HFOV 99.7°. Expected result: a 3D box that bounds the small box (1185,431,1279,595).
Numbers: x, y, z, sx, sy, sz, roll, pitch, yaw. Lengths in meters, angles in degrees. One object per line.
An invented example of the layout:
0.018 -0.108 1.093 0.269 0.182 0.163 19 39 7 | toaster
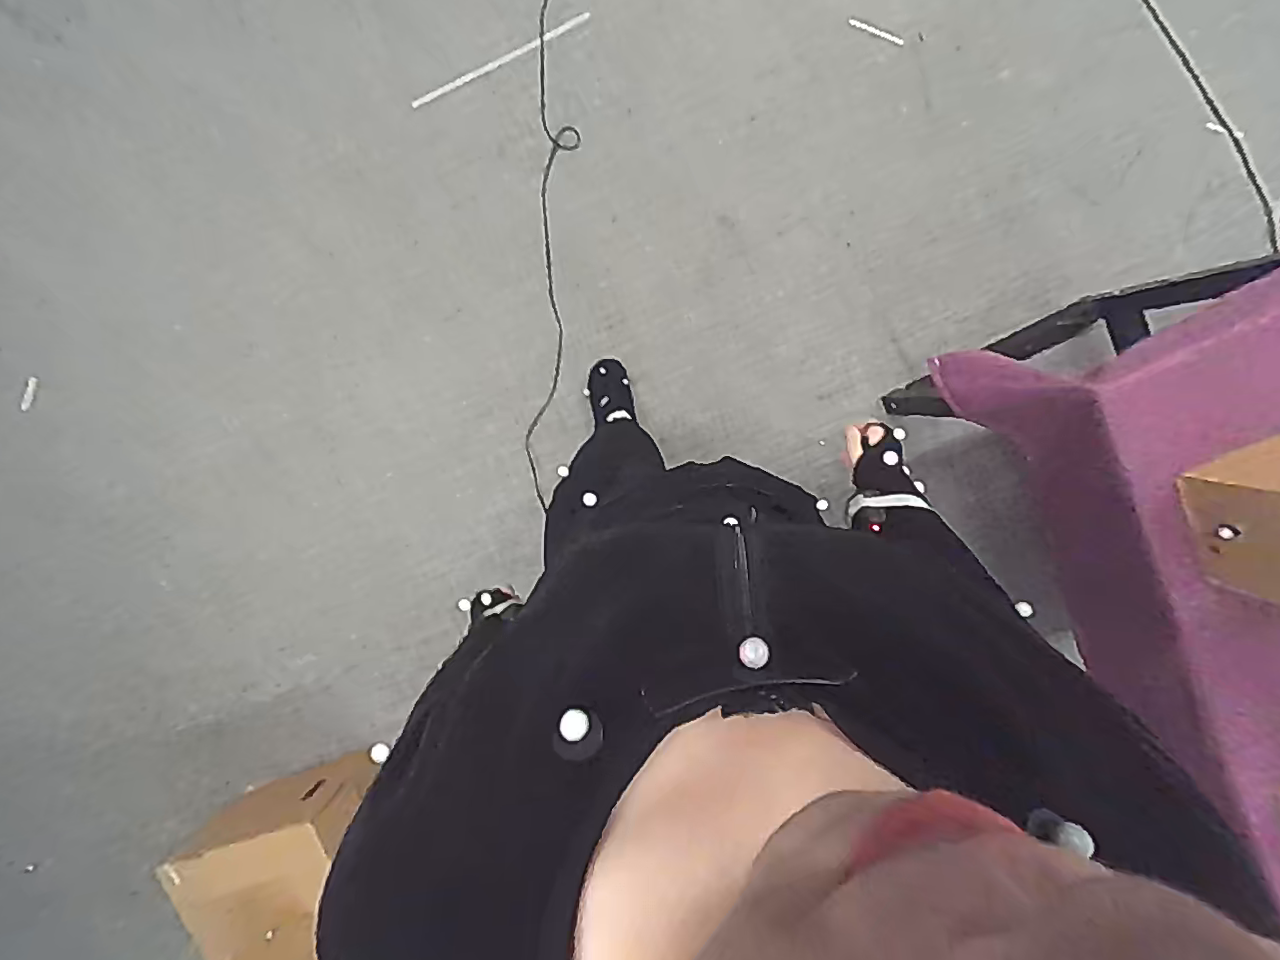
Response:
0.840 0.037 0.654 0.179 0.176 0.168 -25 98 5 | small box

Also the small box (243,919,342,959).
-0.865 1.216 1.302 0.179 0.176 0.168 -20 99 7 | small box
